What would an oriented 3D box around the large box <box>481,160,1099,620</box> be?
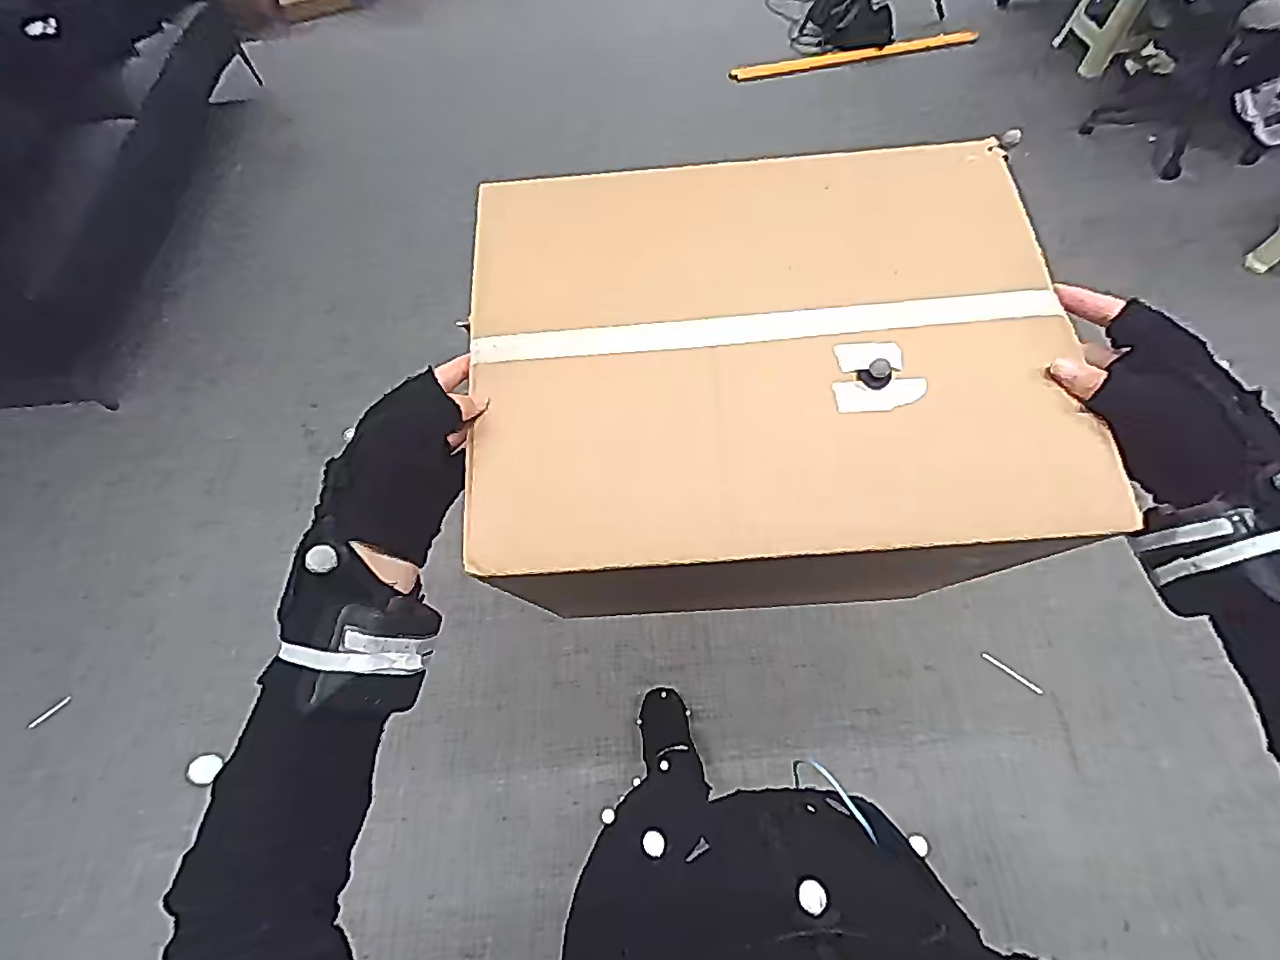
[{"bbox_3d":[0.088,-0.049,0.533,0.408,0.320,0.320,-5,71,2],"label":"large box"}]
